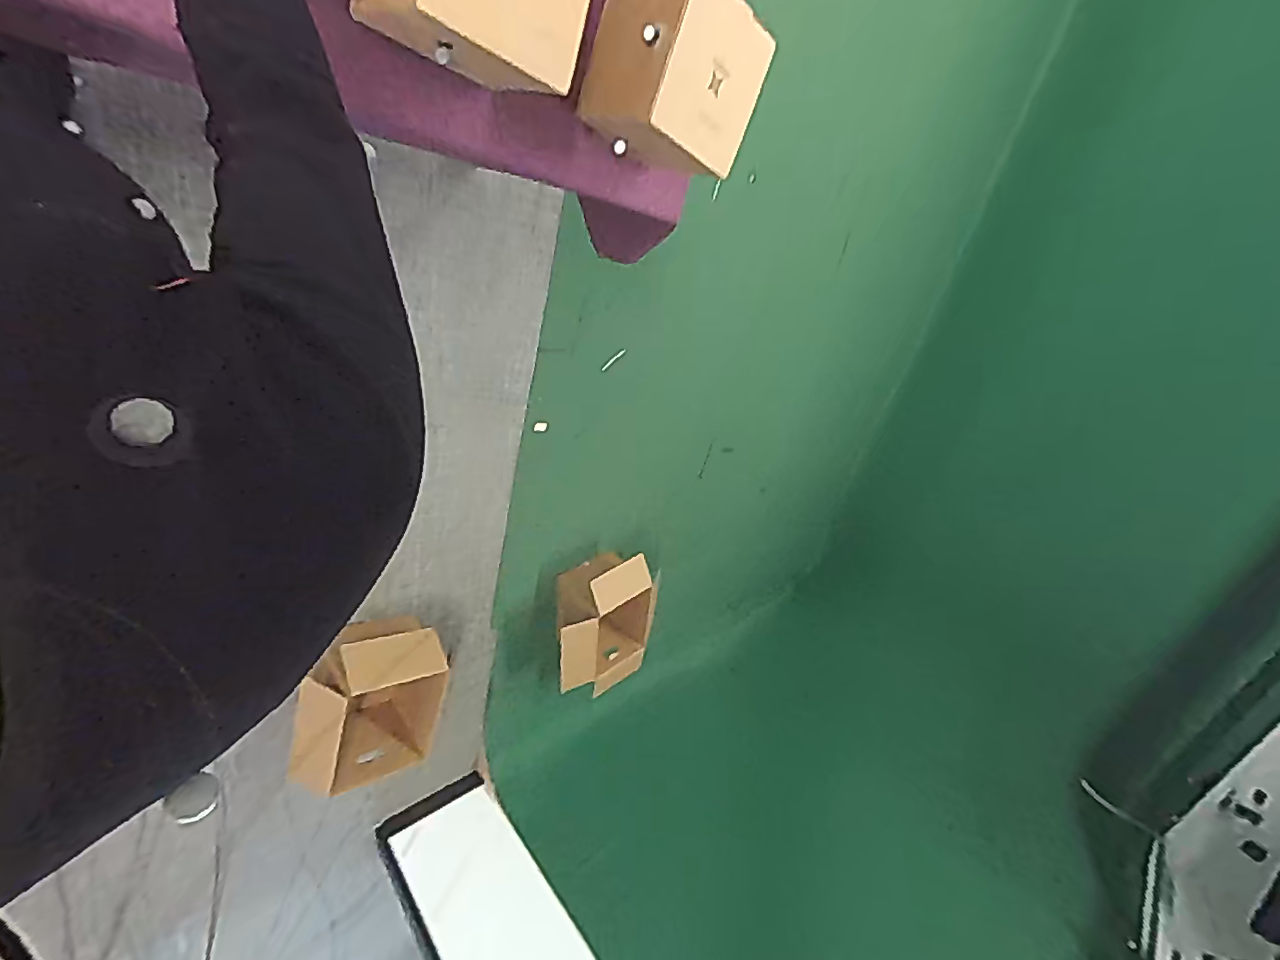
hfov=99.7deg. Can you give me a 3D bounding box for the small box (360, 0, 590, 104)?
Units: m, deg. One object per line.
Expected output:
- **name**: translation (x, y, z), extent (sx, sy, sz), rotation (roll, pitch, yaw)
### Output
- **small box**: translation (-0.162, -0.510, 0.535), extent (0.168, 0.176, 0.179), rotation (-4, 121, -46)
